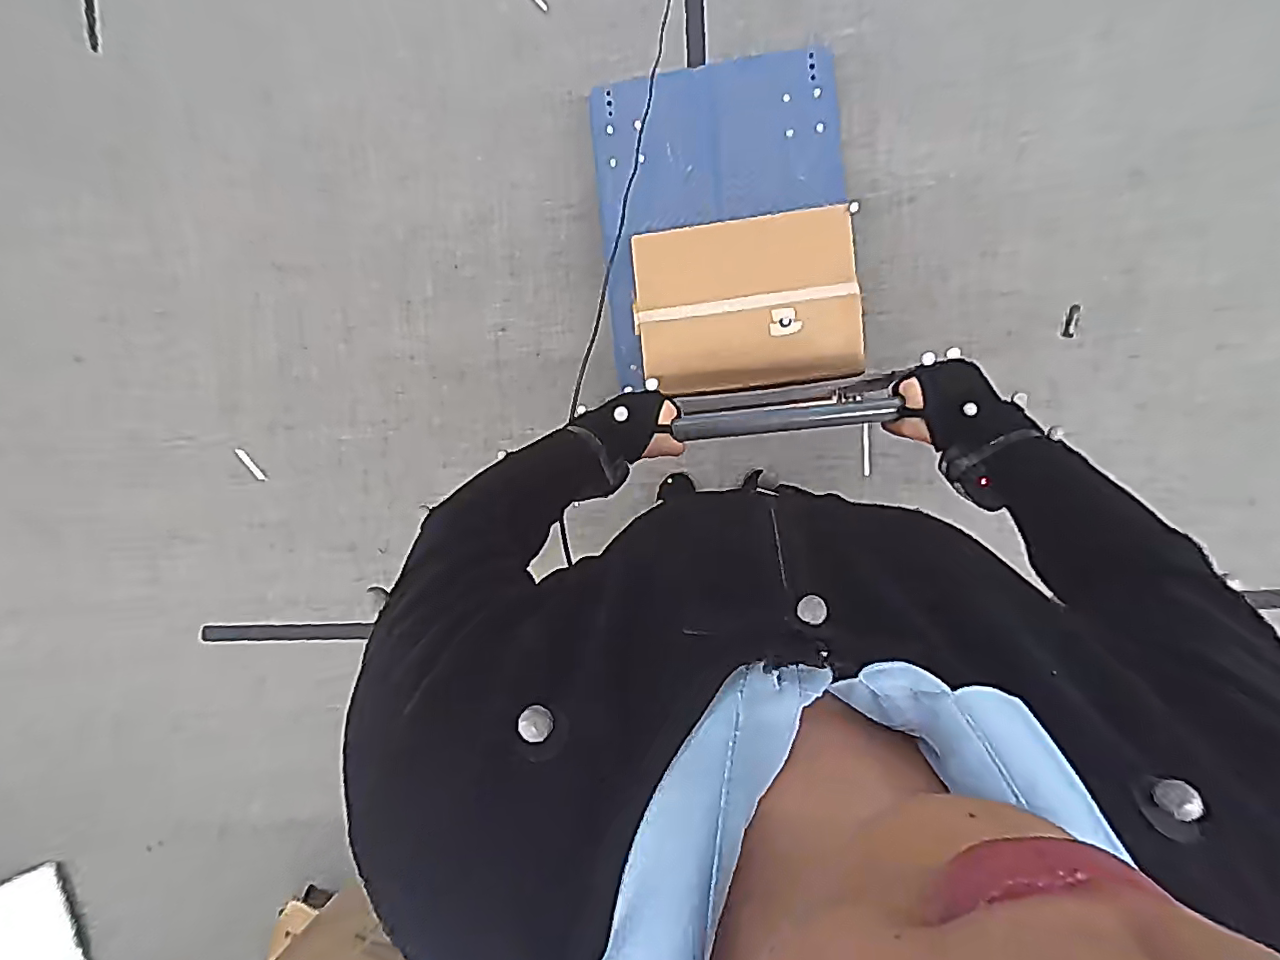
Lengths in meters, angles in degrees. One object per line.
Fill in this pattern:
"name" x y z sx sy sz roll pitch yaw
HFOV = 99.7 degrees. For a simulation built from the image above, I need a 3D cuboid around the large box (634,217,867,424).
"large box" 0.214 -0.305 1.145 0.408 0.320 0.320 -6 91 6
